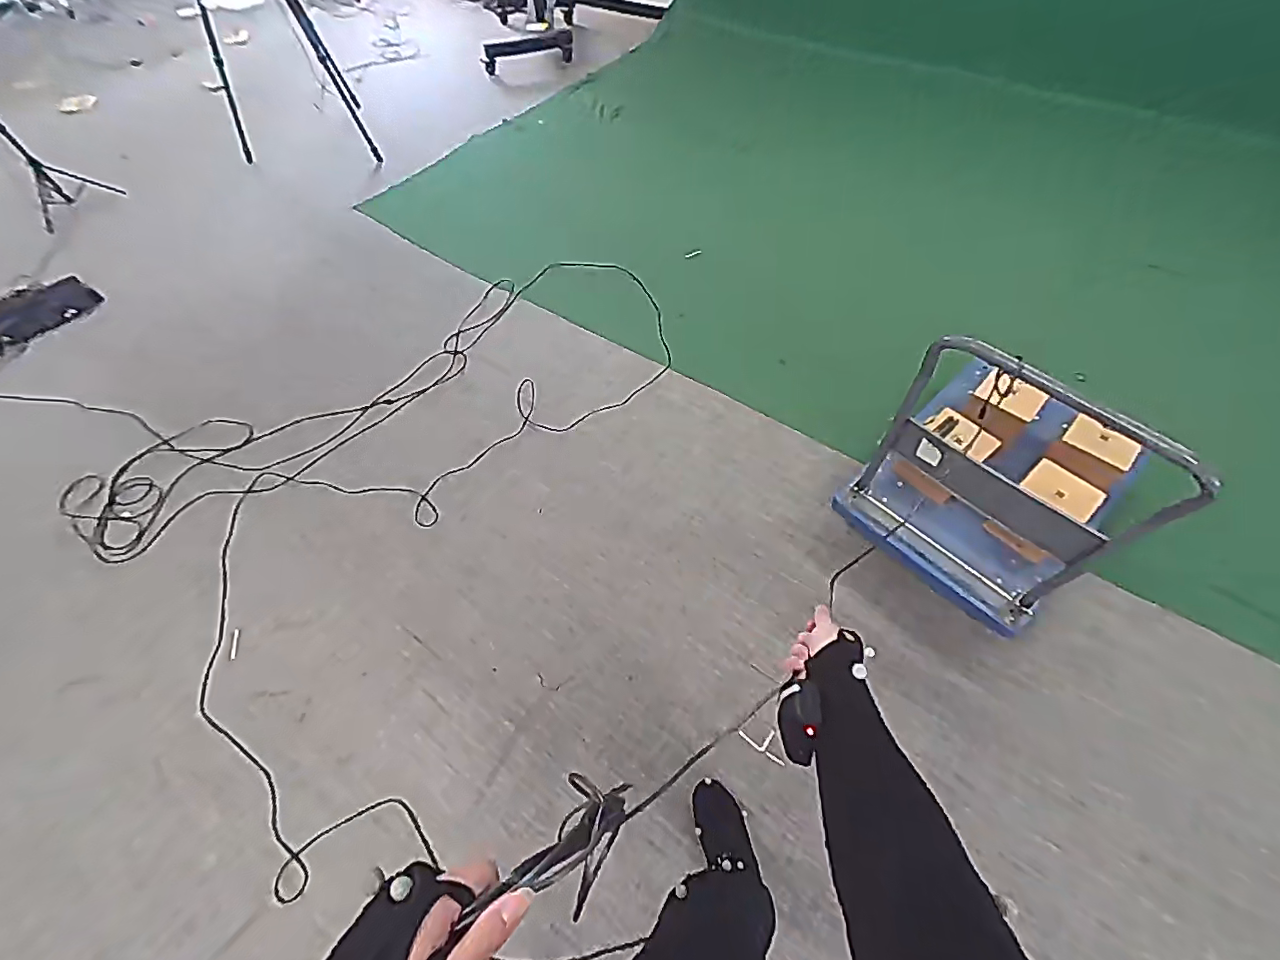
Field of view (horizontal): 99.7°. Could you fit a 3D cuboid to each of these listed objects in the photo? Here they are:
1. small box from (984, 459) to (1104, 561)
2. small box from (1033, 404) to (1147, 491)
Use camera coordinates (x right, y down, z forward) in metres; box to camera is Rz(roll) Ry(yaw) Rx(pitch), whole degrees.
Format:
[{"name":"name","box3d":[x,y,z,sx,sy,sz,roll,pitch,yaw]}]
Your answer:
[{"name":"small box","box3d":[1.075,0.082,1.454,0.179,0.176,0.168,-38,62,-19]},{"name":"small box","box3d":[1.274,-0.077,1.545,0.168,0.176,0.179,38,67,25]}]
